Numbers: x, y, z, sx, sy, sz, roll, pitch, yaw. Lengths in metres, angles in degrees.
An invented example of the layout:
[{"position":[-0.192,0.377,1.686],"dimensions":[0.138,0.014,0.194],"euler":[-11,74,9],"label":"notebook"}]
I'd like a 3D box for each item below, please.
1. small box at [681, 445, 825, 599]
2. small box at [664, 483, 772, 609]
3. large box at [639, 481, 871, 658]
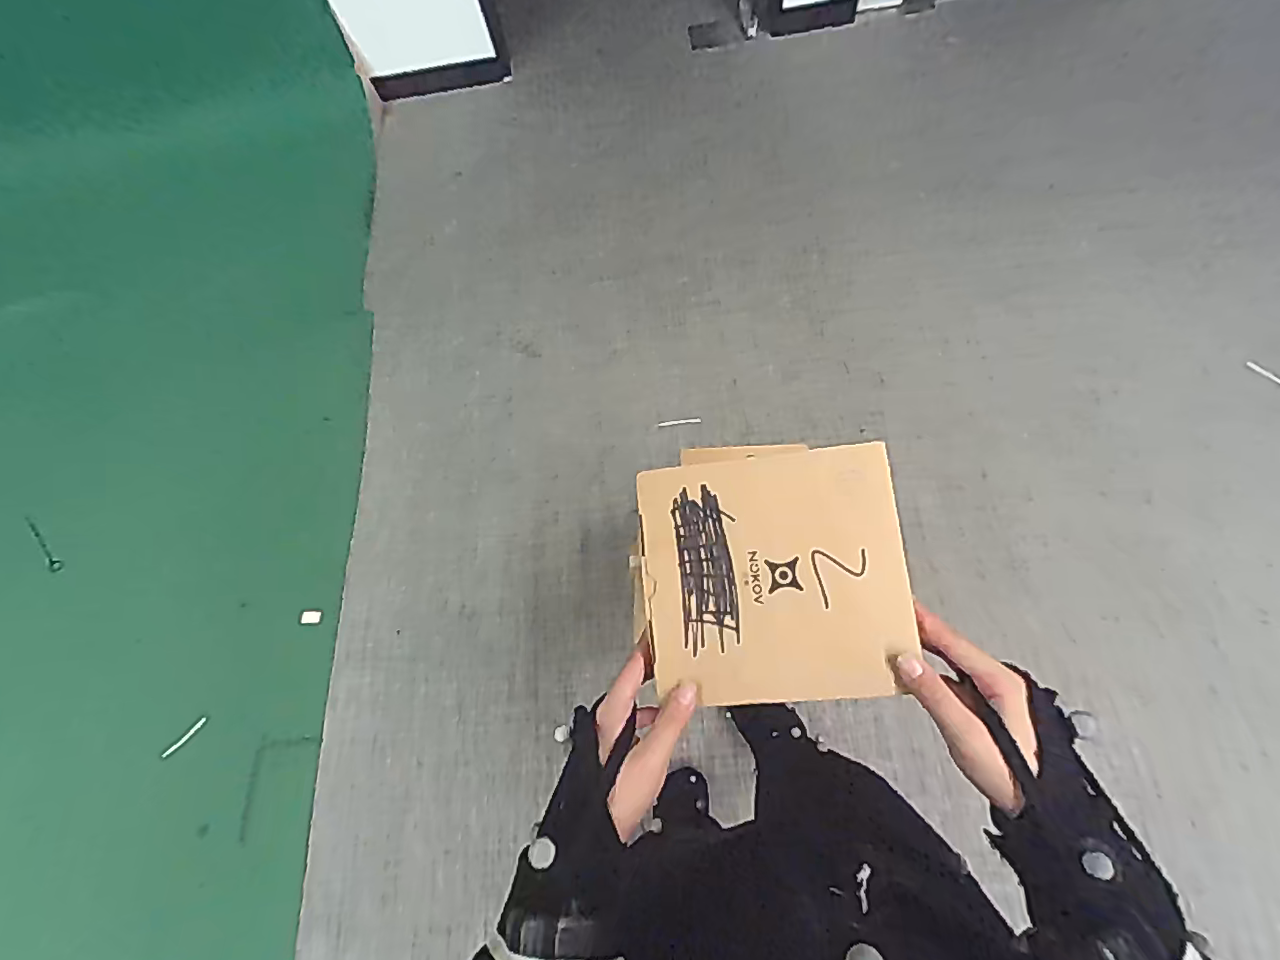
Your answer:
[{"position":[0.142,0.067,0.740],"dimensions":[0.168,0.176,0.179],"euler":[-2,69,3],"label":"small box"},{"position":[0.140,0.115,0.896],"dimensions":[0.179,0.176,0.168],"euler":[5,70,7],"label":"small box"},{"position":[0.206,0.199,1.118],"dimensions":[0.408,0.320,0.320],"euler":[0,71,5],"label":"large box"}]
